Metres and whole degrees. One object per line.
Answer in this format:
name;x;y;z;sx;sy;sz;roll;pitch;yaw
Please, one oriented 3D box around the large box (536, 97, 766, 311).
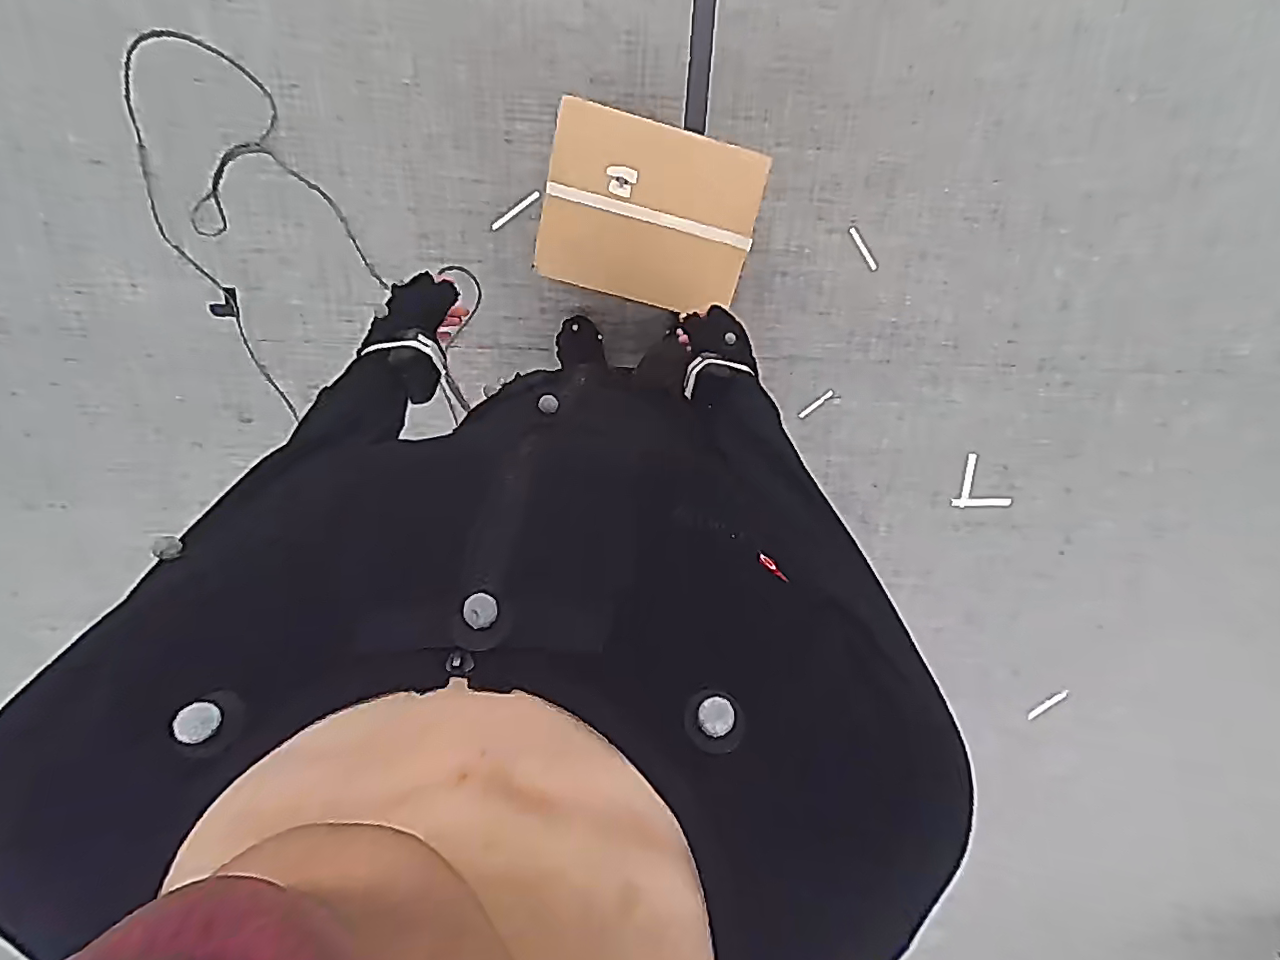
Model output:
large box;0.013;-0.572;1.181;0.408;0.320;0.320;11;110;-5
